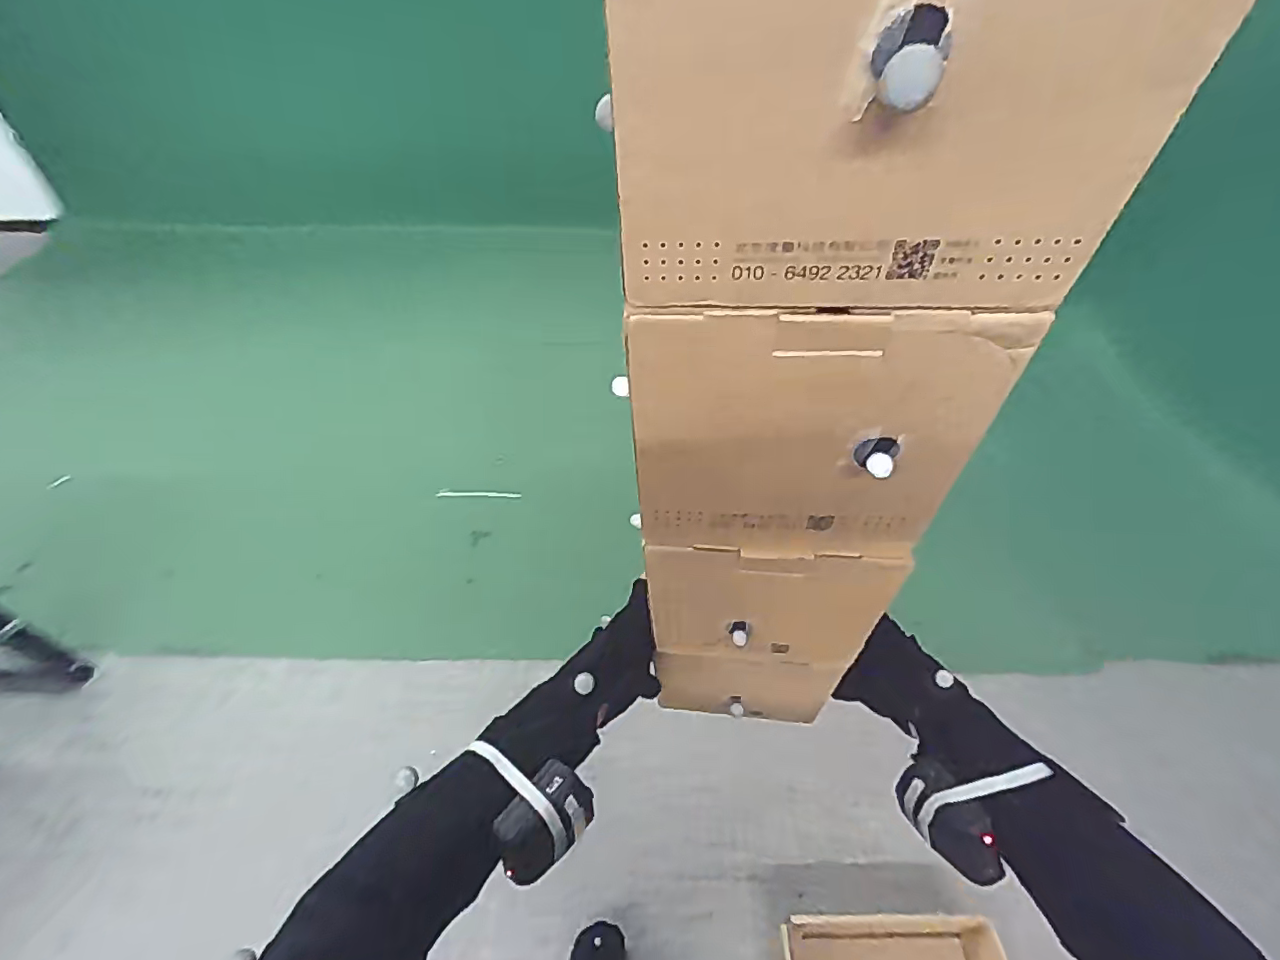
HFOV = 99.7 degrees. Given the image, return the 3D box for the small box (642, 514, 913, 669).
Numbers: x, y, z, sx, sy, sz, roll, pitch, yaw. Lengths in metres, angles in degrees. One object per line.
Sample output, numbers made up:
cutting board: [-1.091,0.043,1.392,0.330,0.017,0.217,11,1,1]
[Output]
small box: [0.093,0.033,0.440,0.168,0.176,0.179,2,52,6]

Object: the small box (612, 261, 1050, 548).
small box: [0.080,-0.074,0.317,0.168,0.176,0.179,1,51,4]

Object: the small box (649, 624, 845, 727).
small box: [0.102,0.137,0.565,0.168,0.176,0.179,3,51,7]
